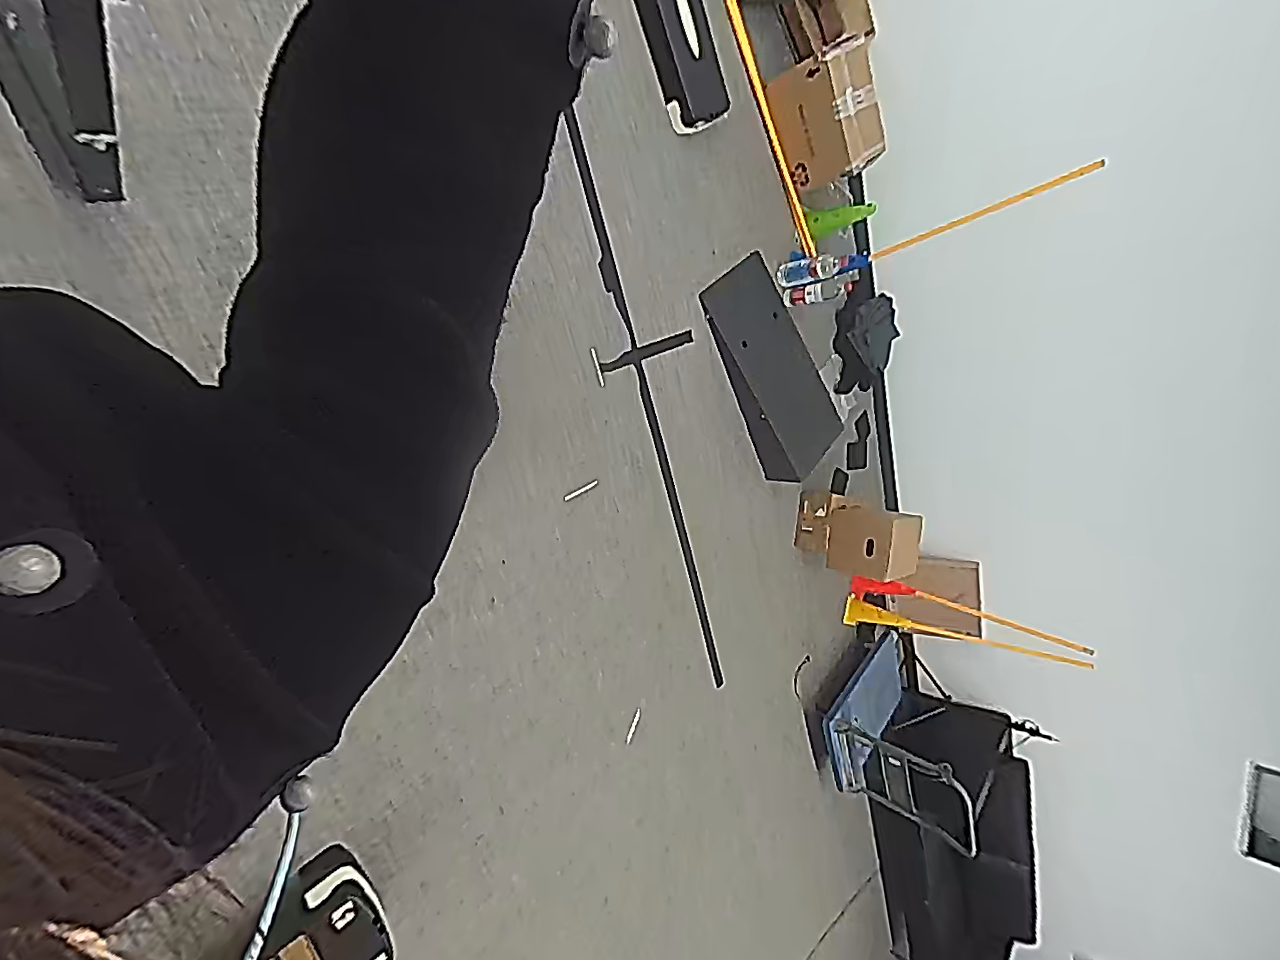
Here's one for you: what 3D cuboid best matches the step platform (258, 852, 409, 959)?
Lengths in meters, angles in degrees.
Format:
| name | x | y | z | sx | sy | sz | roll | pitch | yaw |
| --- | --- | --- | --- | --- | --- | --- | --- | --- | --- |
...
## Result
| name | x | y | z | sx | sy | sz | roll | pitch | yaw |
| --- | --- | --- | --- | --- | --- | --- | --- | --- | --- |
| step platform | -0.896 | 1.225 | 1.223 | 0.684 | 0.204 | 0.286 | -23 | 109 | -40 |
